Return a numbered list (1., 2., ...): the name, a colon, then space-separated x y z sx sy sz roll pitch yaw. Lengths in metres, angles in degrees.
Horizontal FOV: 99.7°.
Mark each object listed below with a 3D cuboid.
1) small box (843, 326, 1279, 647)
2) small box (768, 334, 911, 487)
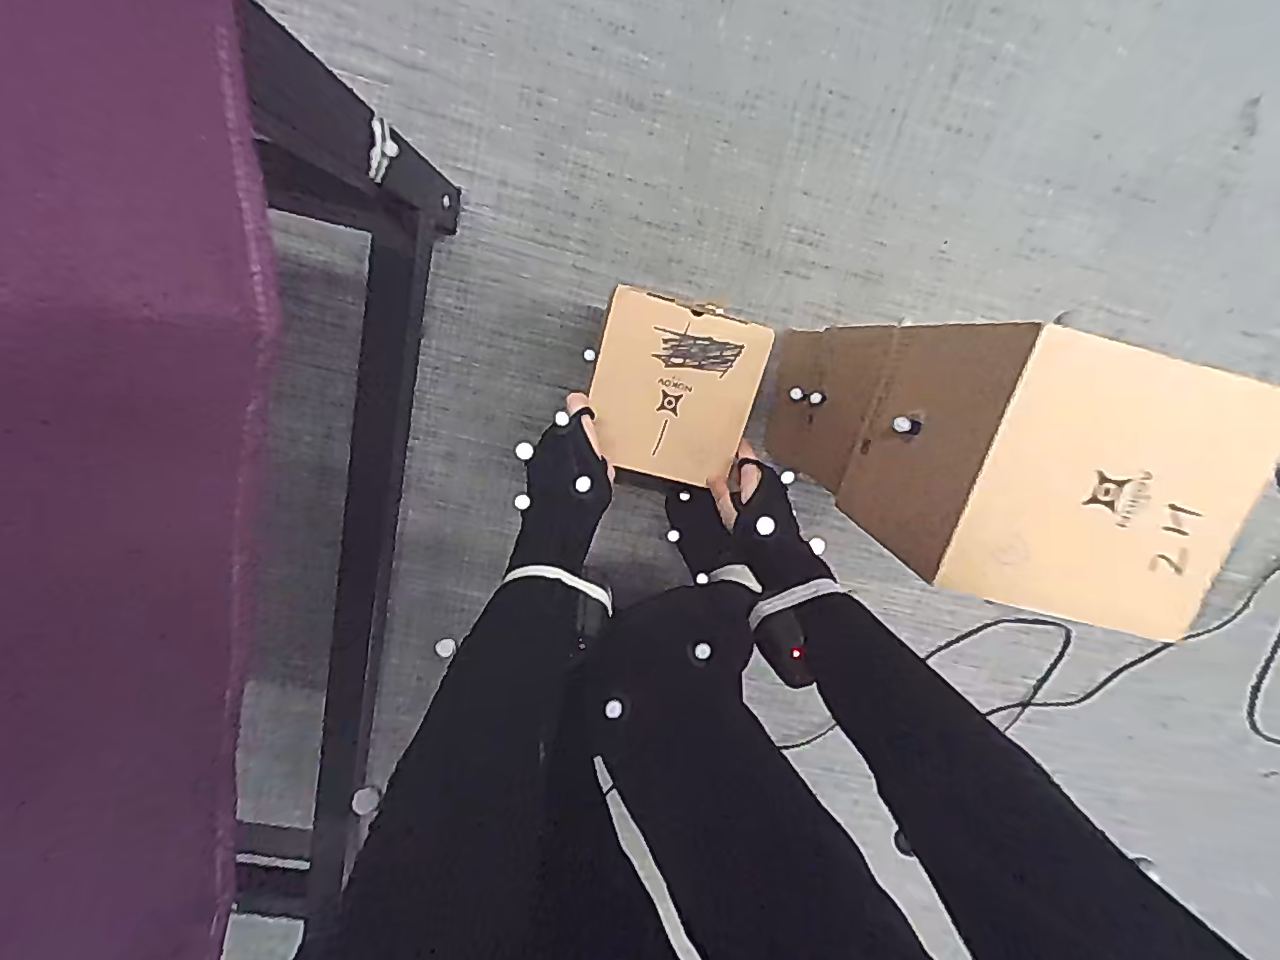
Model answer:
1. small box: 0.281 -0.008 0.402 0.179 0.176 0.168 14 105 -6
2. small box: 0.281 -0.093 0.720 0.168 0.176 0.179 7 105 -4
